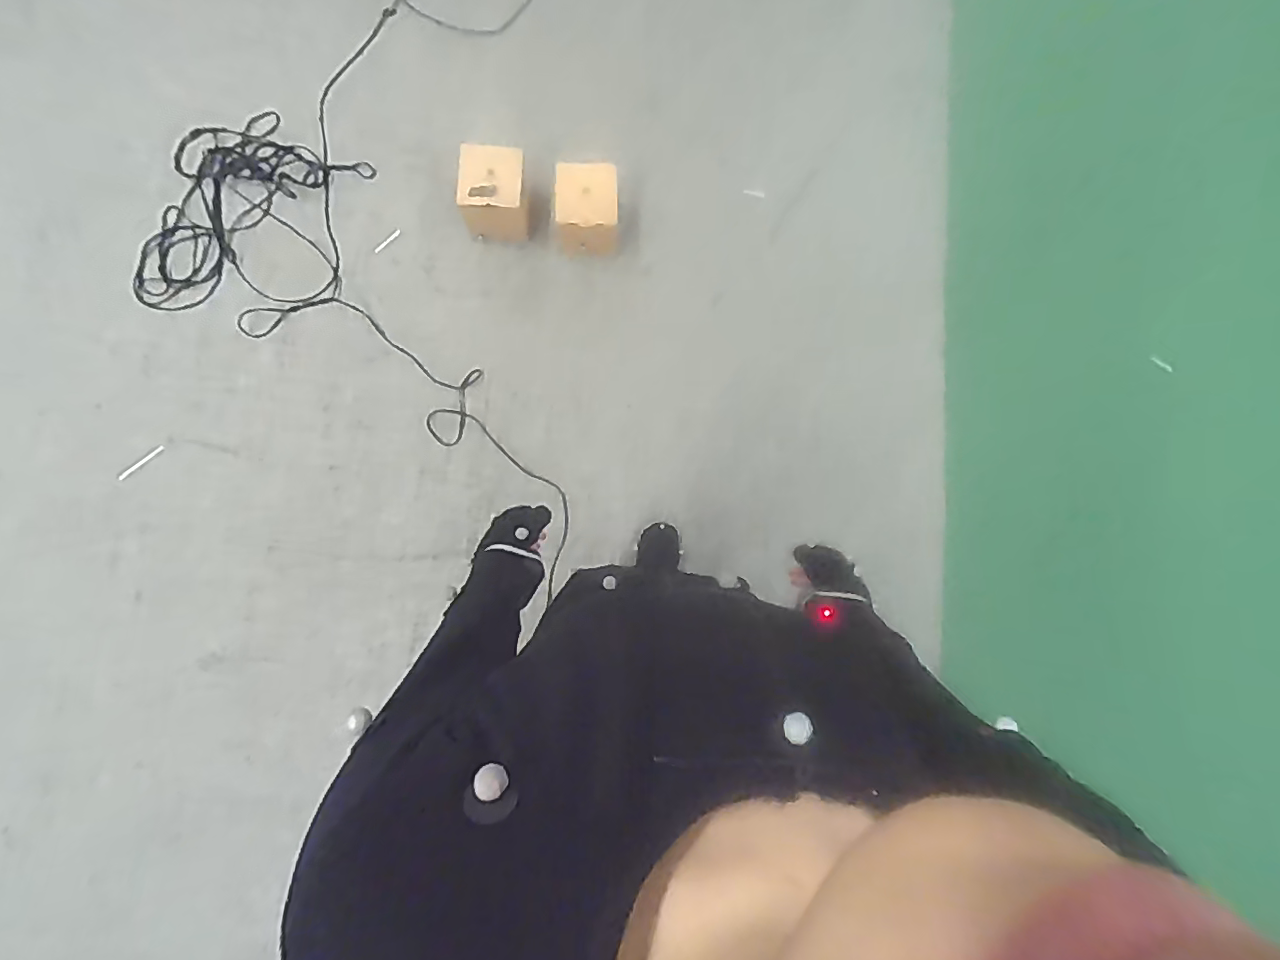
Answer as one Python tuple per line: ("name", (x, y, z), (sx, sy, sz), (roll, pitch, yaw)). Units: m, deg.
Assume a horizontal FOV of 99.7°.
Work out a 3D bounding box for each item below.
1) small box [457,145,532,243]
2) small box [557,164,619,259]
("small box", (-0.395, -0.783, 1.496), (0.168, 0.176, 0.179), (2, 82, -3))
("small box", (-0.143, -0.744, 1.509), (0.168, 0.176, 0.179), (-1, 84, -3))
